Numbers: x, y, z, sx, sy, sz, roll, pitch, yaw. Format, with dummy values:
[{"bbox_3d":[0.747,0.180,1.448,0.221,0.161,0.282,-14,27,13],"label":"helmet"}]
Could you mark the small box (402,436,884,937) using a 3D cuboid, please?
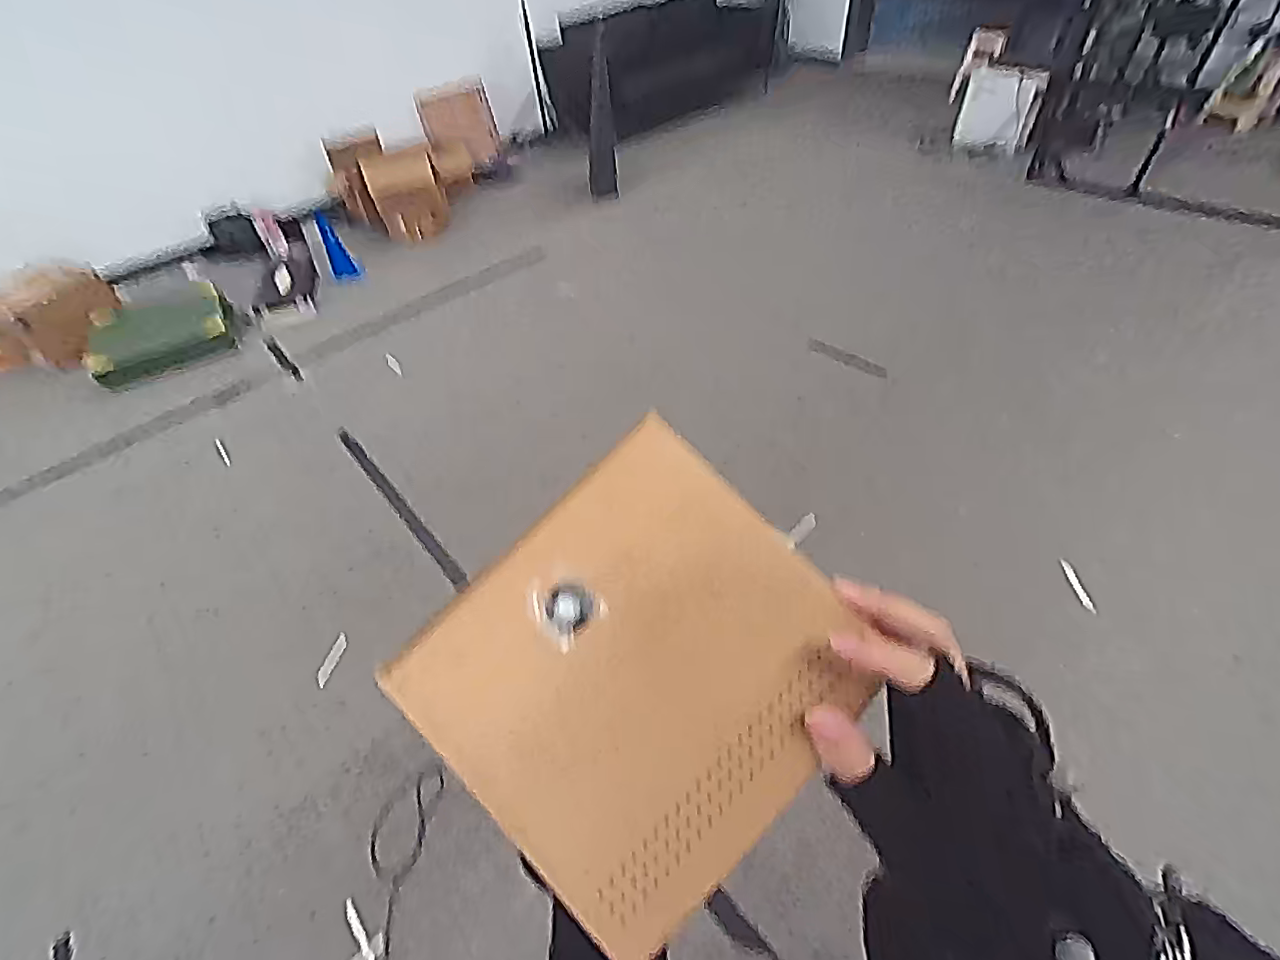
[{"bbox_3d":[0.005,0.107,0.331,0.179,0.168,0.176,-44,82,-7],"label":"small box"}]
